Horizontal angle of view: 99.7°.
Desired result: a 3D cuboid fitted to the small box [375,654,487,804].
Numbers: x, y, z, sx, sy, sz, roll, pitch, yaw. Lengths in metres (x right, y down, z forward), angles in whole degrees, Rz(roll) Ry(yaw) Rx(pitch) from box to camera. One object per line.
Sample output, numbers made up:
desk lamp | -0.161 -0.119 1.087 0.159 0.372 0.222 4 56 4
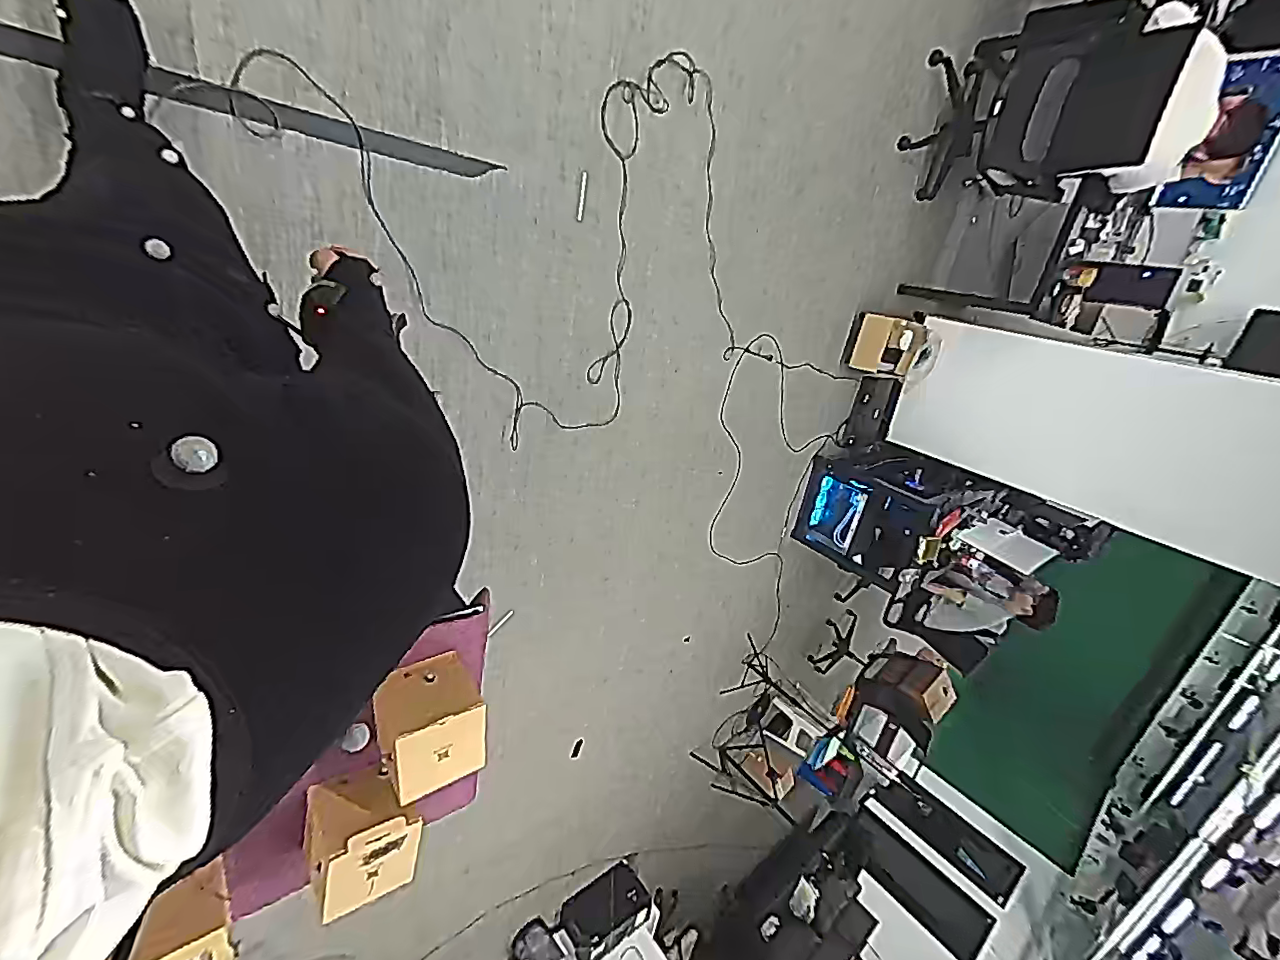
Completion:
small box | -0.416 0.484 1.076 0.168 0.176 0.179 -12 120 -36

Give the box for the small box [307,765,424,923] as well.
small box | -0.553 0.708 1.081 0.168 0.176 0.179 -2 114 -42
